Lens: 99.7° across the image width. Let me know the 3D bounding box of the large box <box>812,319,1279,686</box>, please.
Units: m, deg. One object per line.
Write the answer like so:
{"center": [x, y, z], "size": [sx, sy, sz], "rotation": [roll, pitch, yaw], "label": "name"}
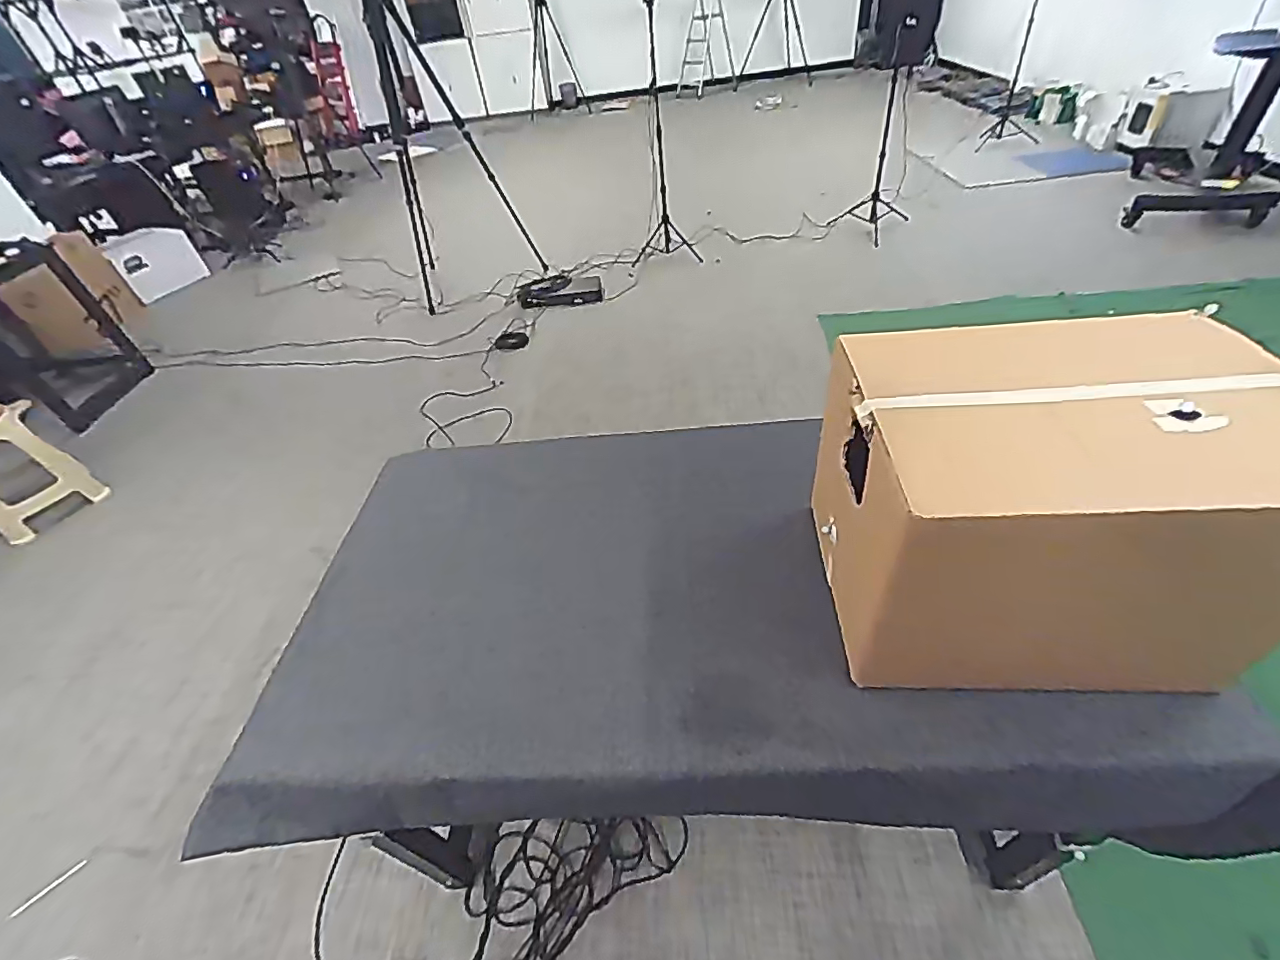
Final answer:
{"center": [0.451, 0.030, 0.645], "size": [0.408, 0.320, 0.320], "rotation": [-2, 43, 6], "label": "large box"}
